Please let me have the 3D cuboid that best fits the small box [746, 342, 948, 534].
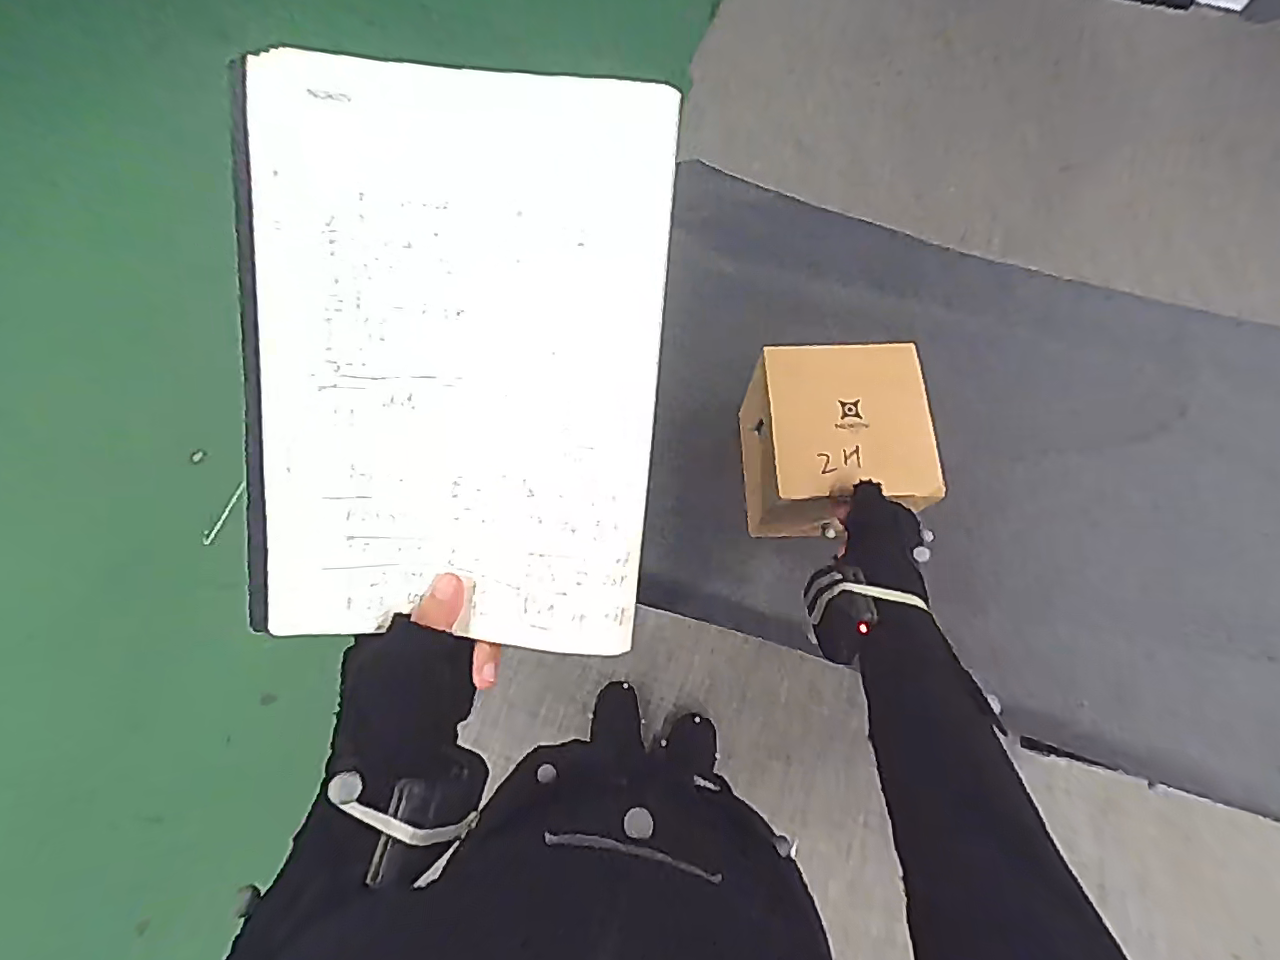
[{"bbox_3d":[0.223,-0.042,0.636,0.168,0.176,0.179,-1,71,1],"label":"small box"}]
